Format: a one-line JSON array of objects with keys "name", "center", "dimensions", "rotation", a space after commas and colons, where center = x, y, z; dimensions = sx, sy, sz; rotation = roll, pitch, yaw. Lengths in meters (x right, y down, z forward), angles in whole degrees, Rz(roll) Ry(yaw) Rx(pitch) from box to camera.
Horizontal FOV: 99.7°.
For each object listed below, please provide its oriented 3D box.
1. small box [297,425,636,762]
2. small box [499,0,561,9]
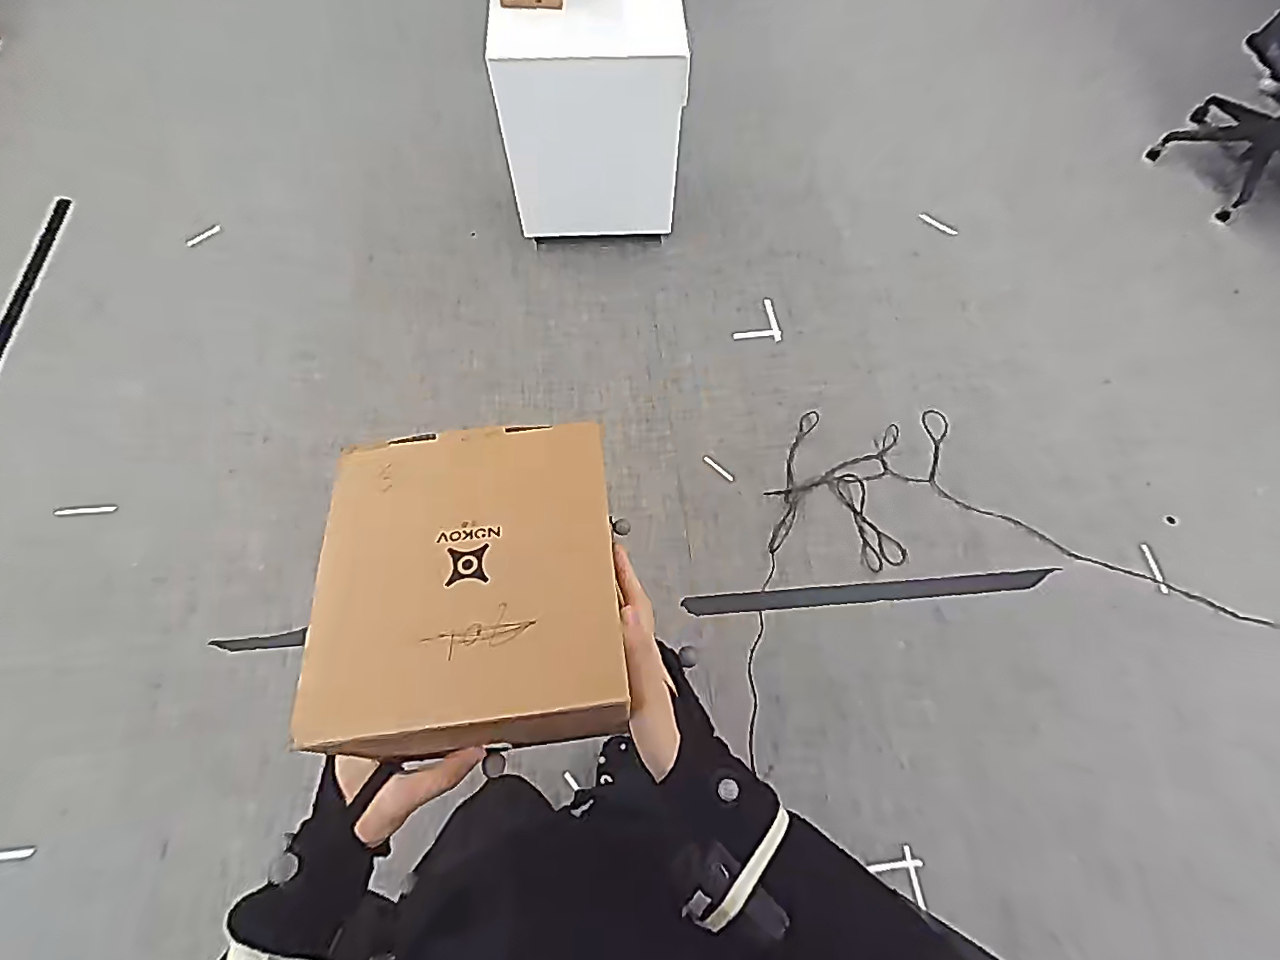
[{"name": "small box", "center": [-0.096, 0.085, 0.374], "dimensions": [0.168, 0.176, 0.179], "rotation": [-6, 61, -5]}, {"name": "small box", "center": [-0.293, -1.356, 1.392], "dimensions": [0.168, 0.176, 0.179], "rotation": [-1, 67, -3]}]
